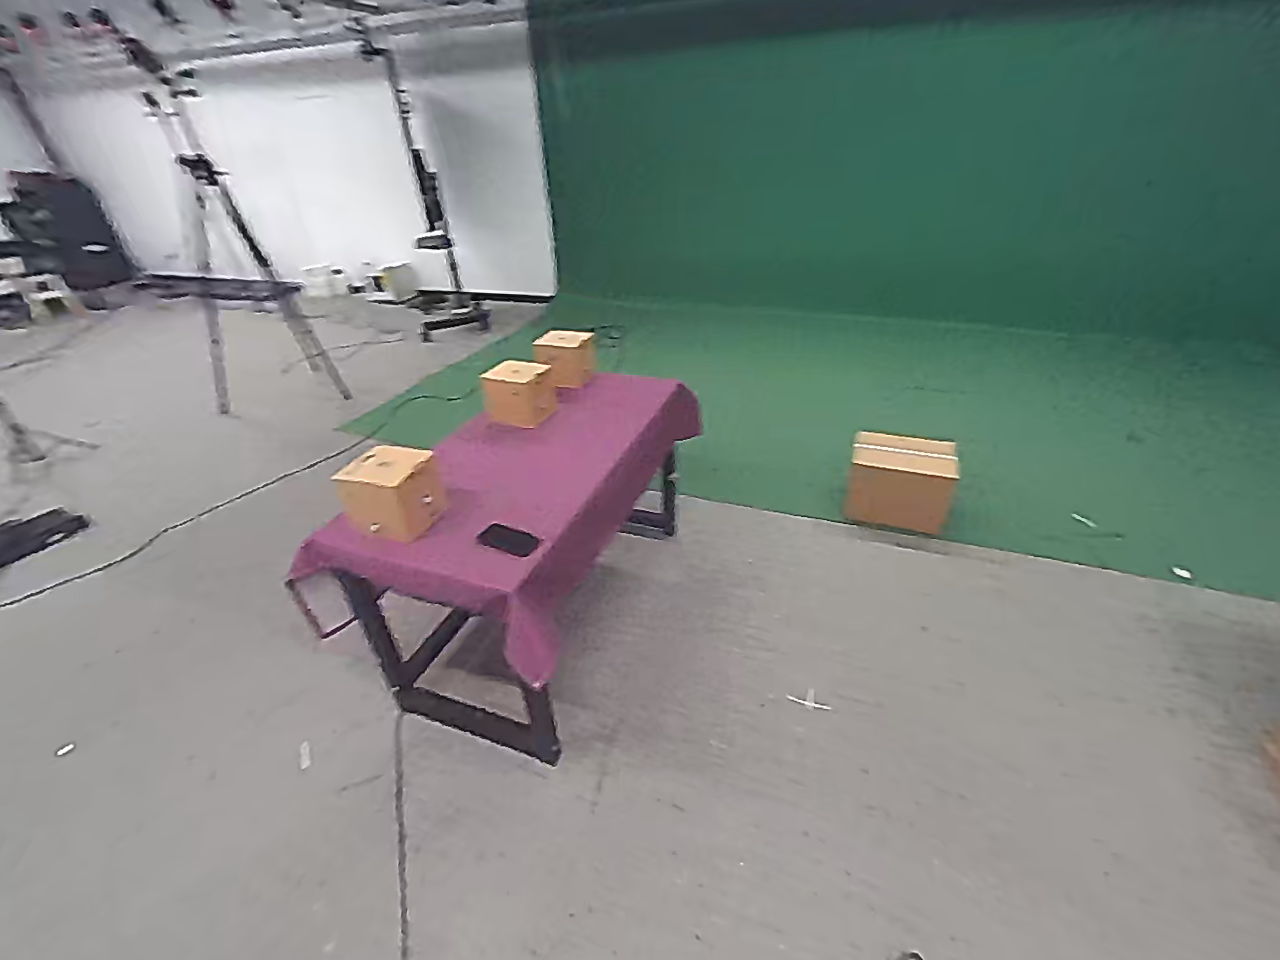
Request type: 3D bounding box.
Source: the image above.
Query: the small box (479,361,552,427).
[{"bbox_3d":[-0.421,-0.294,1.856,0.179,0.176,0.168,11,35,19],"label":"small box"}]

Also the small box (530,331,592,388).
[{"bbox_3d":[-0.302,-0.471,2.110,0.179,0.176,0.168,9,36,18],"label":"small box"}]

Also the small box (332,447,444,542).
[{"bbox_3d":[-0.621,0.037,1.360,0.179,0.176,0.168,7,33,14],"label":"small box"}]
